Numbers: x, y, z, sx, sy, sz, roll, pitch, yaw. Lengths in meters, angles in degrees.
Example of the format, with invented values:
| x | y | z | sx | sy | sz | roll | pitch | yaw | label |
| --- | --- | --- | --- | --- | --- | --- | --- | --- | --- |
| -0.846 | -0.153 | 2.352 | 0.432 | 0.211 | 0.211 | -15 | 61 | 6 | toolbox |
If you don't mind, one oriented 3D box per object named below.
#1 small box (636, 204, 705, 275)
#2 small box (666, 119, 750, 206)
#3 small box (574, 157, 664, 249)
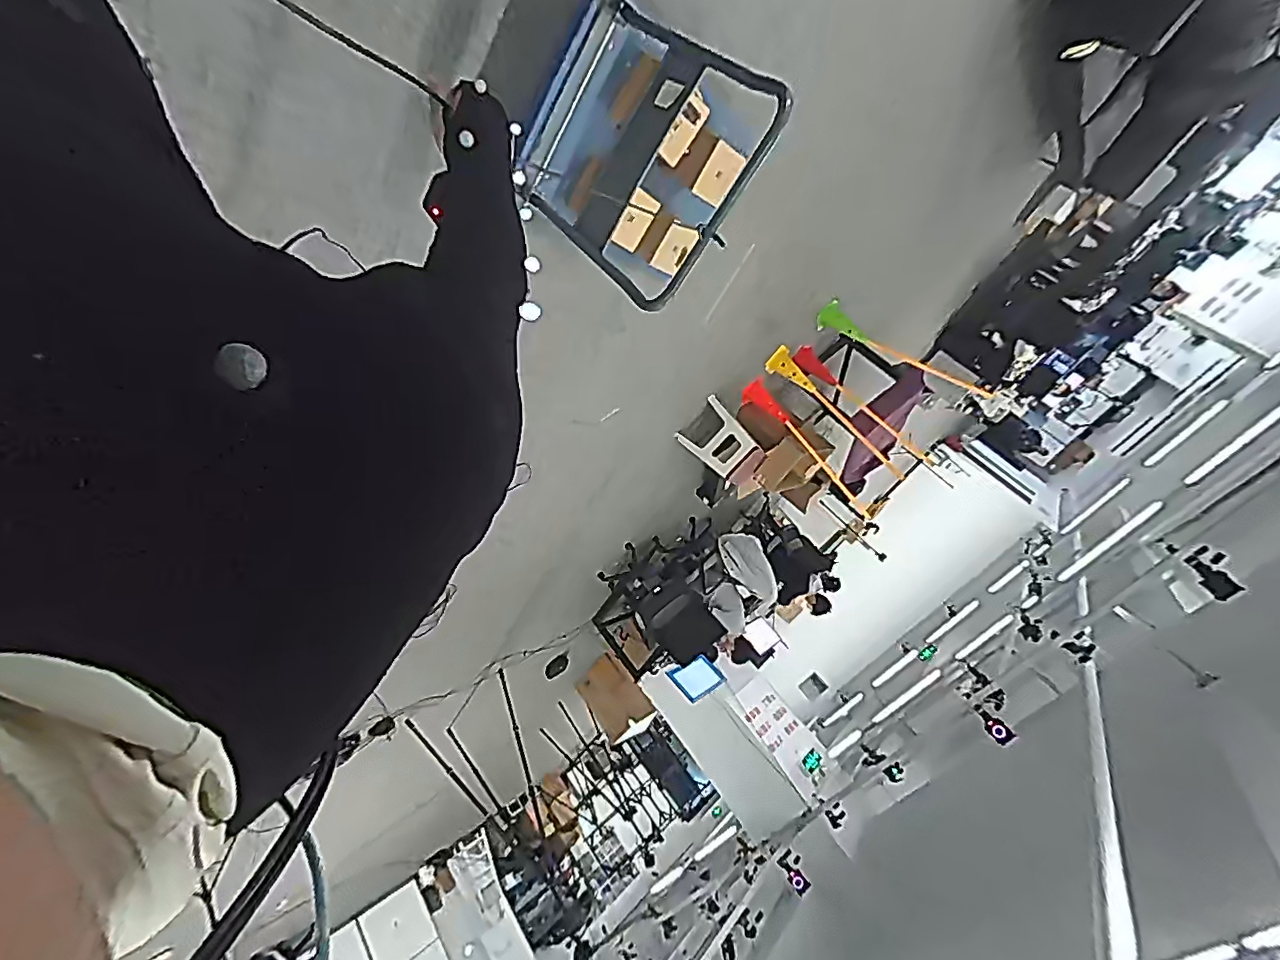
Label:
| x | y | z | sx | sy | sz | roll | pitch | yaw | label |
| --- | --- | --- | --- | --- | --- | --- | --- | --- | --- |
| 0.086 | -0.844 | 1.868 | 0.179 | 0.176 | 0.168 | -3 | 134 | -52 | small box |
| 0.217 | -1.033 | 1.754 | 0.179 | 0.176 | 0.168 | -6 | 138 | -51 | small box |
| -0.067 | -0.847 | 1.652 | 0.179 | 0.176 | 0.168 | 1 | 132 | -54 | small box |
